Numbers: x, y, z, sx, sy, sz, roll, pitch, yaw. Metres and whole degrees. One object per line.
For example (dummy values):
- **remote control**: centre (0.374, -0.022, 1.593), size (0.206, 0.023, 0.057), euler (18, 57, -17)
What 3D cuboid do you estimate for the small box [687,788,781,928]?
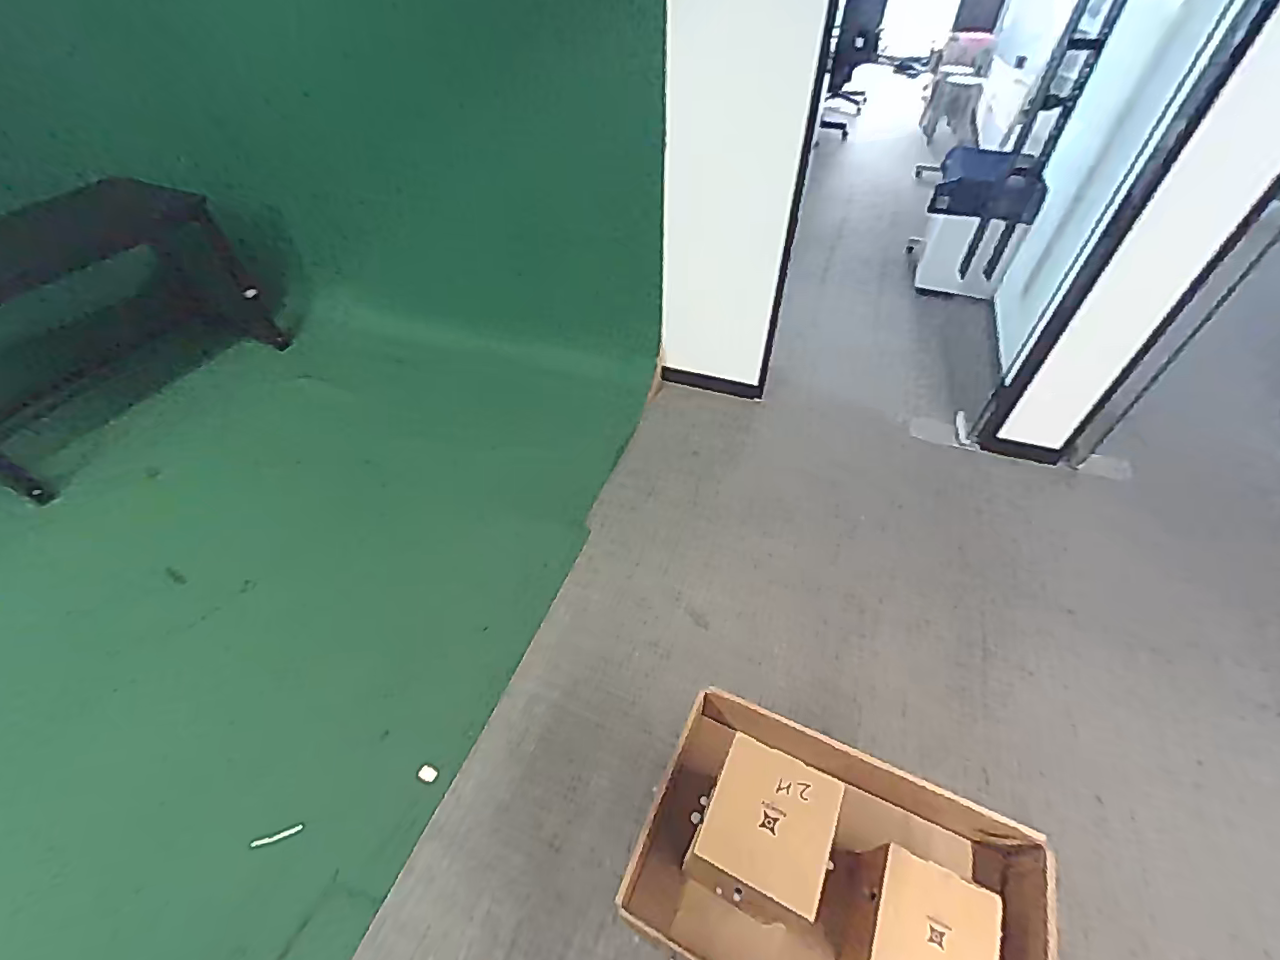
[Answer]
- **small box**: centre (0.186, 0.626, 0.933), size (0.168, 0.176, 0.179), euler (21, 52, 20)

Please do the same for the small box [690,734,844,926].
- **small box**: centre (0.182, 0.522, 0.805), size (0.168, 0.176, 0.179), euler (21, 52, 18)
